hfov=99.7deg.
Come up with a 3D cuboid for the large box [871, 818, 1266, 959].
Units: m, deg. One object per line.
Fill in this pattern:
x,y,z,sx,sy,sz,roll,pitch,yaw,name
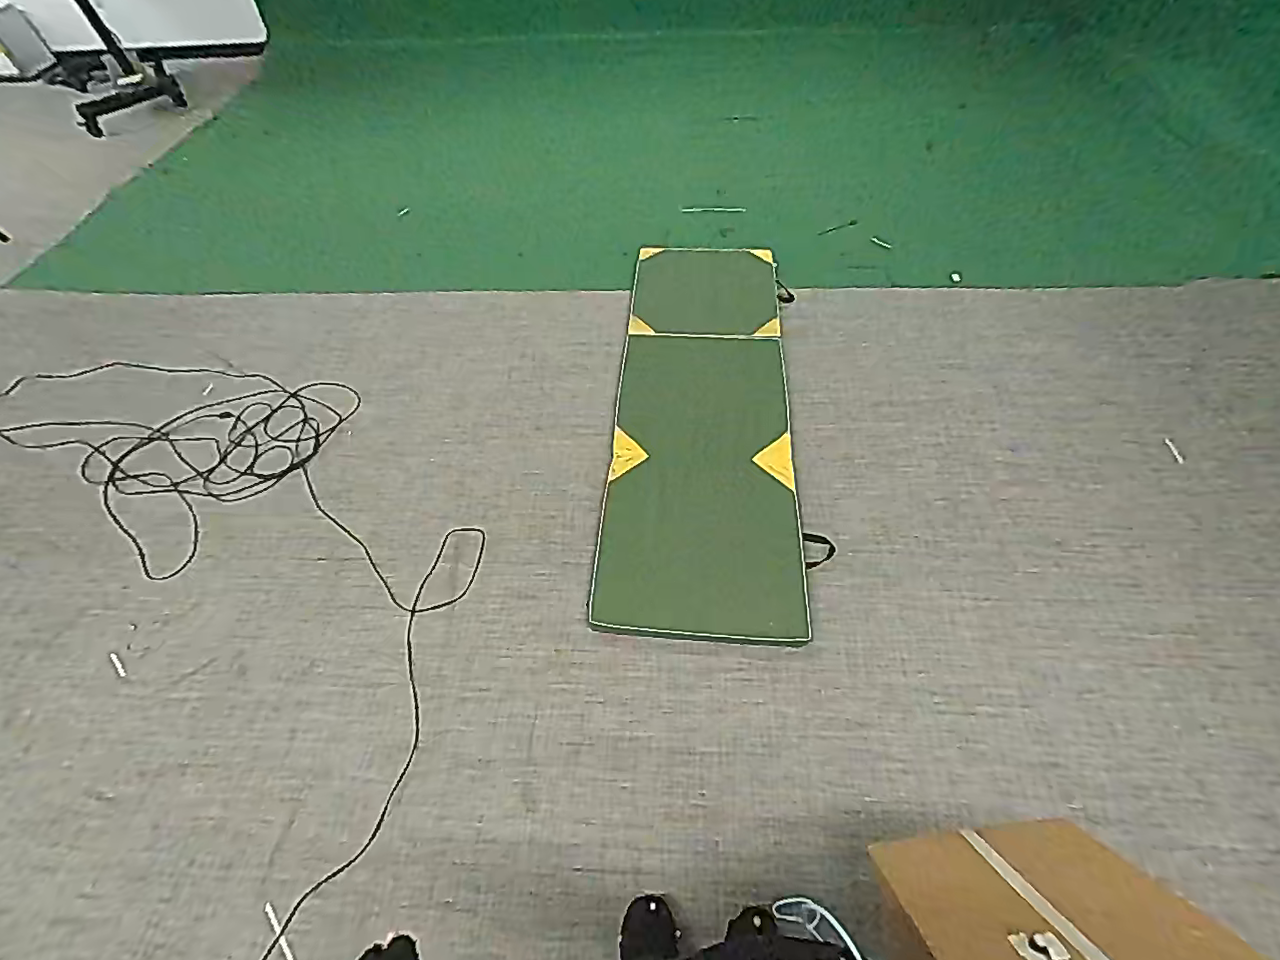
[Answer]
0.526,0.678,0.644,0.320,0.408,0.320,-11,82,3,large box
